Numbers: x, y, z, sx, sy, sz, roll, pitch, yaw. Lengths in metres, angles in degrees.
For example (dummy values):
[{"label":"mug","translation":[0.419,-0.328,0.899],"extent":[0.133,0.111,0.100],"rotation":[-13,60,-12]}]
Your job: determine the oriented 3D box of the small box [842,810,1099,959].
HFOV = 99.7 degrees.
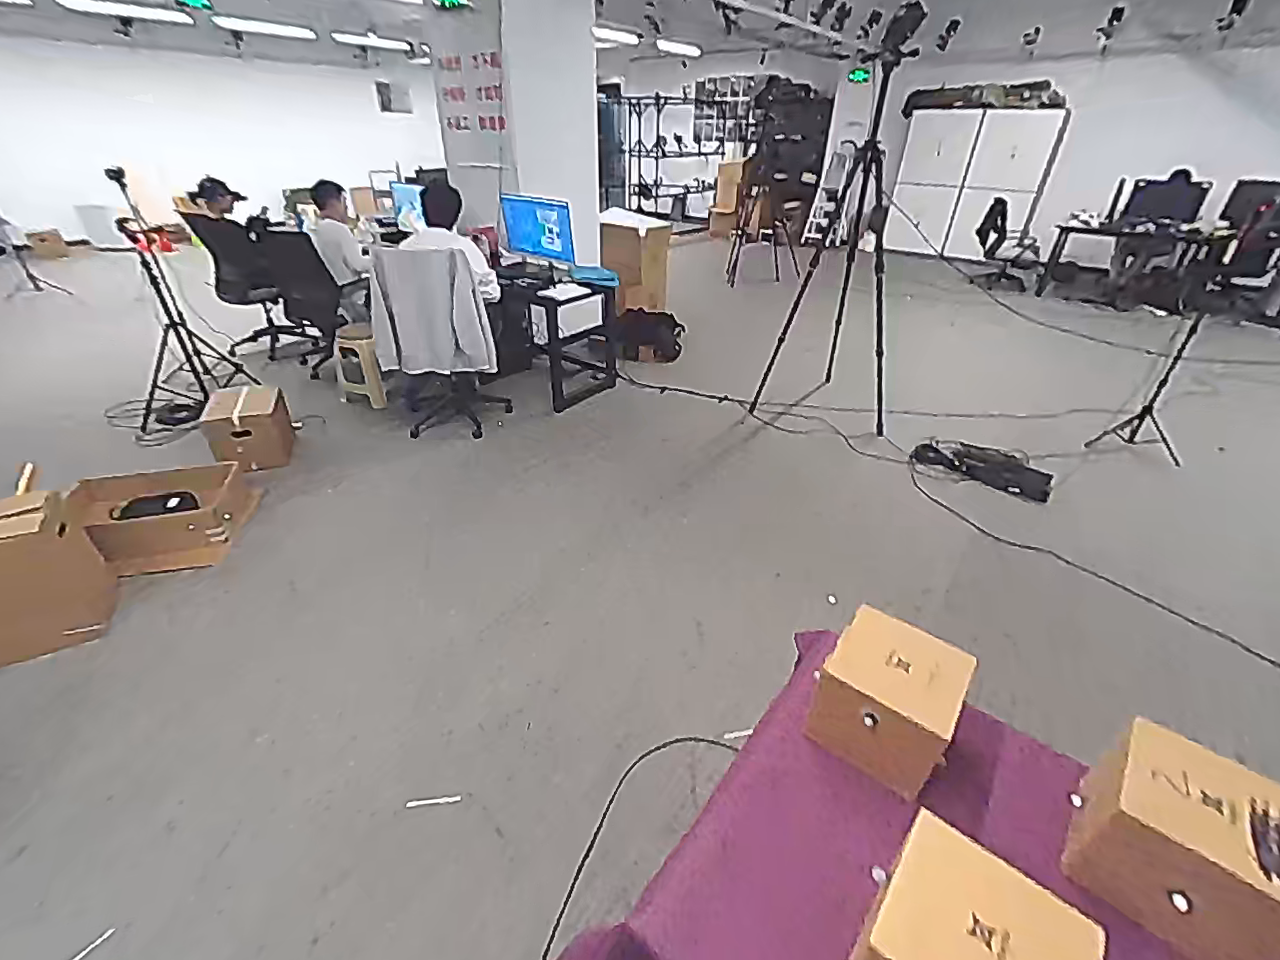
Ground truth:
[{"label":"small box","translation":[0.331,0.510,0.569],"extent":[0.179,0.176,0.168],"rotation":[27,40,32]}]
